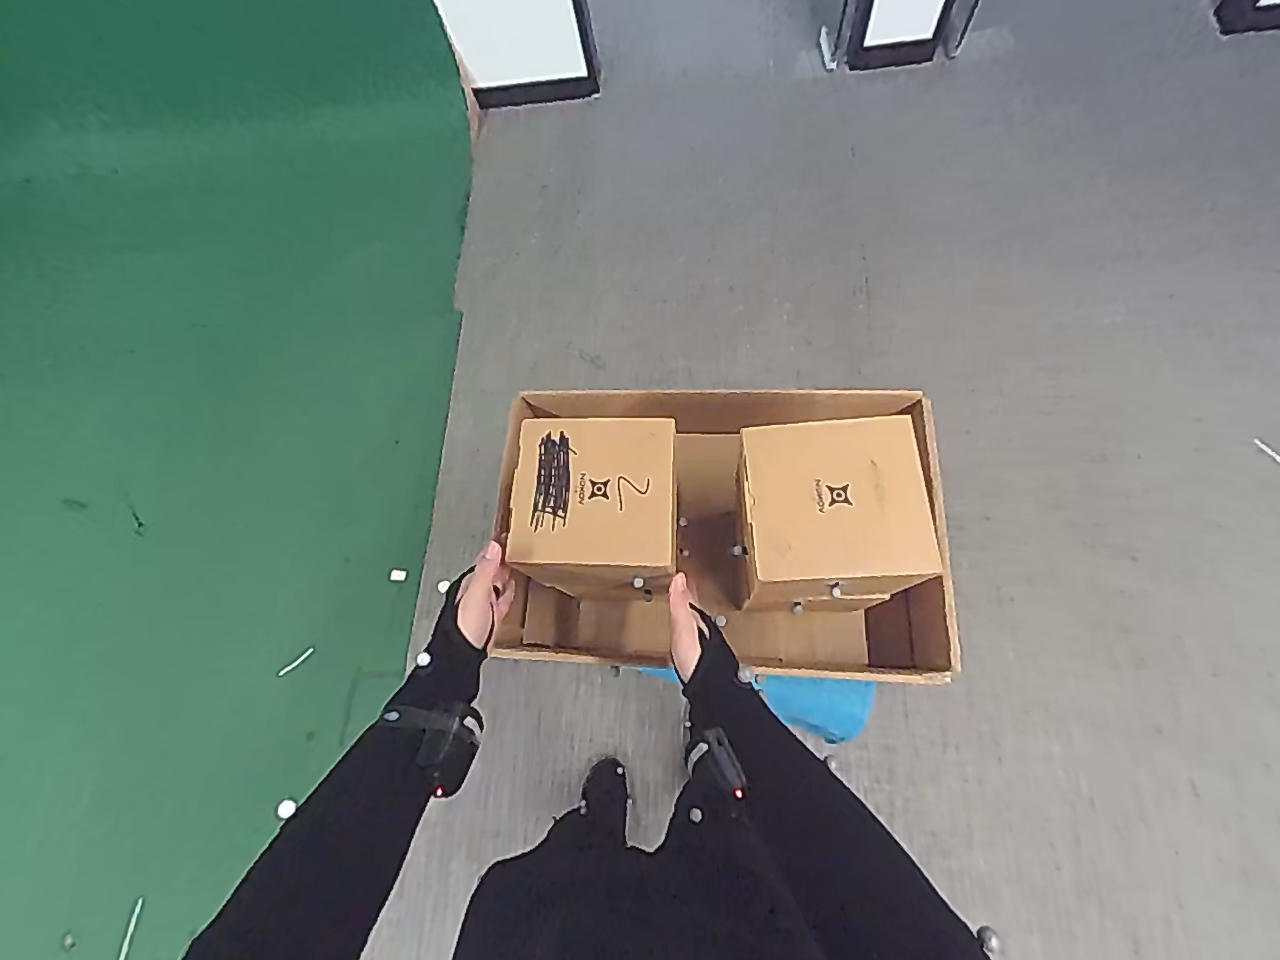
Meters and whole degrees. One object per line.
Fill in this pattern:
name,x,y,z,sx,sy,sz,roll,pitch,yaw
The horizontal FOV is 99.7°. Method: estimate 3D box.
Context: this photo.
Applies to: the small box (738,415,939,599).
small box,0.206,0.042,0.615,0.179,0.176,0.168,-4,71,8
